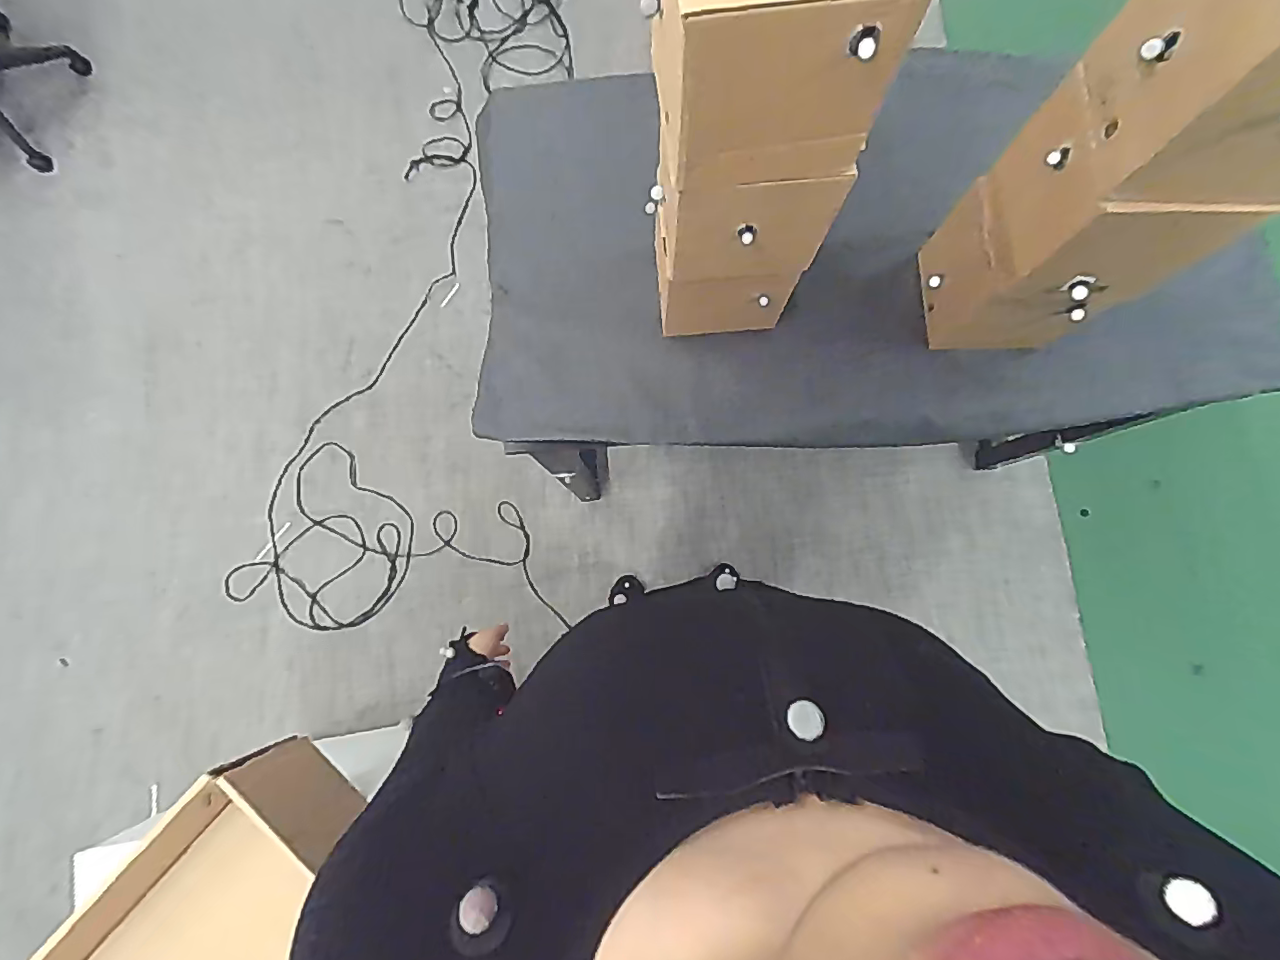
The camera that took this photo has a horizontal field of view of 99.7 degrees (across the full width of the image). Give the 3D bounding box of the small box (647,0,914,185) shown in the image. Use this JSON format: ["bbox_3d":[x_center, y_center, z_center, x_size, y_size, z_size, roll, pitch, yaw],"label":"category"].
[{"bbox_3d":[0.098,-0.376,0.448,0.179,0.176,0.168,-7,80,0],"label":"small box"}]

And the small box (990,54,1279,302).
[{"bbox_3d":[0.513,-0.316,0.590,0.168,0.176,0.179,1,81,4],"label":"small box"}]

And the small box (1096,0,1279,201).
[{"bbox_3d":[0.508,-0.349,0.429,0.179,0.176,0.168,2,80,4],"label":"small box"}]

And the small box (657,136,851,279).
[{"bbox_3d":[0.112,-0.347,0.608,0.179,0.176,0.168,-5,80,1],"label":"small box"}]

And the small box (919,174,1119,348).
[{"bbox_3d":[0.520,-0.294,0.751,0.179,0.176,0.168,-1,79,2],"label":"small box"}]
